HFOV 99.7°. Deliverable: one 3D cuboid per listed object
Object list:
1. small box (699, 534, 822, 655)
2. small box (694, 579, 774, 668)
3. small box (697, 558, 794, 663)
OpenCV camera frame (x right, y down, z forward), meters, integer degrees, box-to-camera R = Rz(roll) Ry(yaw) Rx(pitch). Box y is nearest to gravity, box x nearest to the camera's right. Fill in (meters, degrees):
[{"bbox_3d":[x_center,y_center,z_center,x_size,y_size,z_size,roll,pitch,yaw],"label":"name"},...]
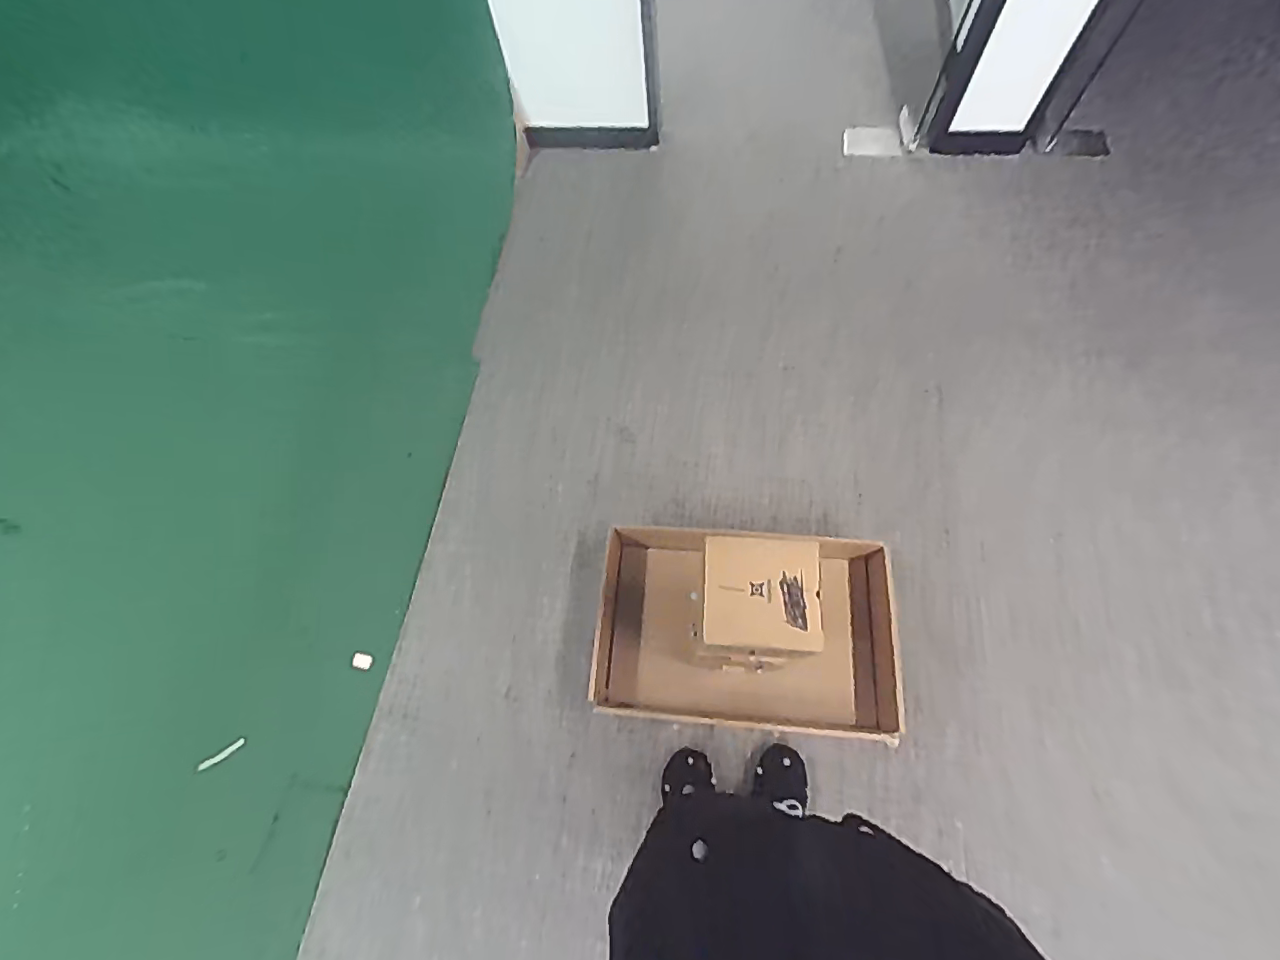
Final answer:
[{"bbox_3d":[0.190,0.195,0.893,0.179,0.176,0.168,2,69,6],"label":"small box"},{"bbox_3d":[0.207,0.316,1.195,0.168,0.176,0.179,3,69,7],"label":"small box"},{"bbox_3d":[0.194,0.253,1.028,0.168,0.176,0.179,1,69,6],"label":"small box"}]
